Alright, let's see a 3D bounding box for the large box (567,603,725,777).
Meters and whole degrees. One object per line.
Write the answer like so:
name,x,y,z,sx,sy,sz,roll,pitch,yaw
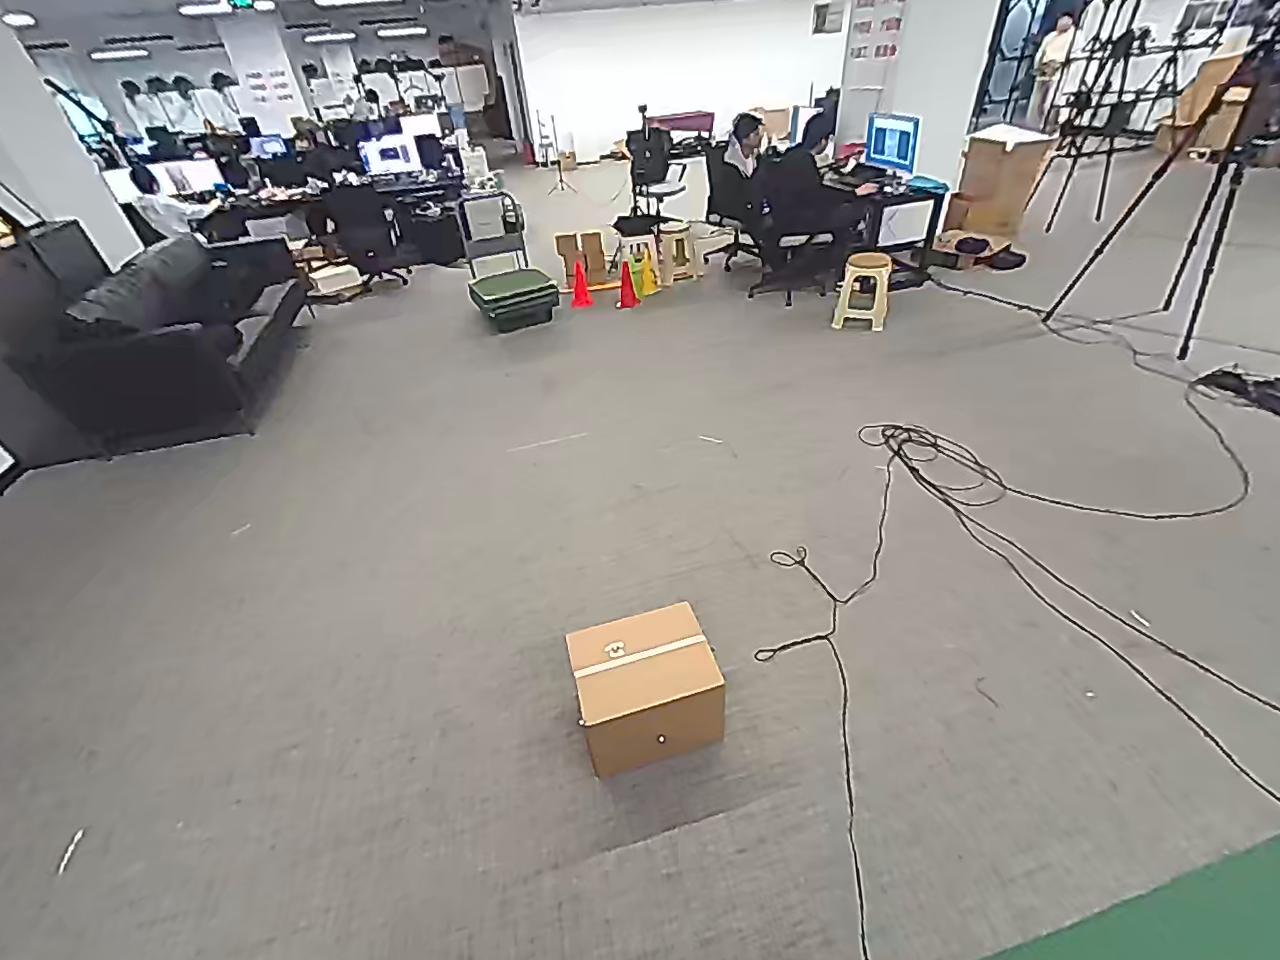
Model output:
large box,0.020,0.648,1.682,0.408,0.320,0.320,-15,38,-10
